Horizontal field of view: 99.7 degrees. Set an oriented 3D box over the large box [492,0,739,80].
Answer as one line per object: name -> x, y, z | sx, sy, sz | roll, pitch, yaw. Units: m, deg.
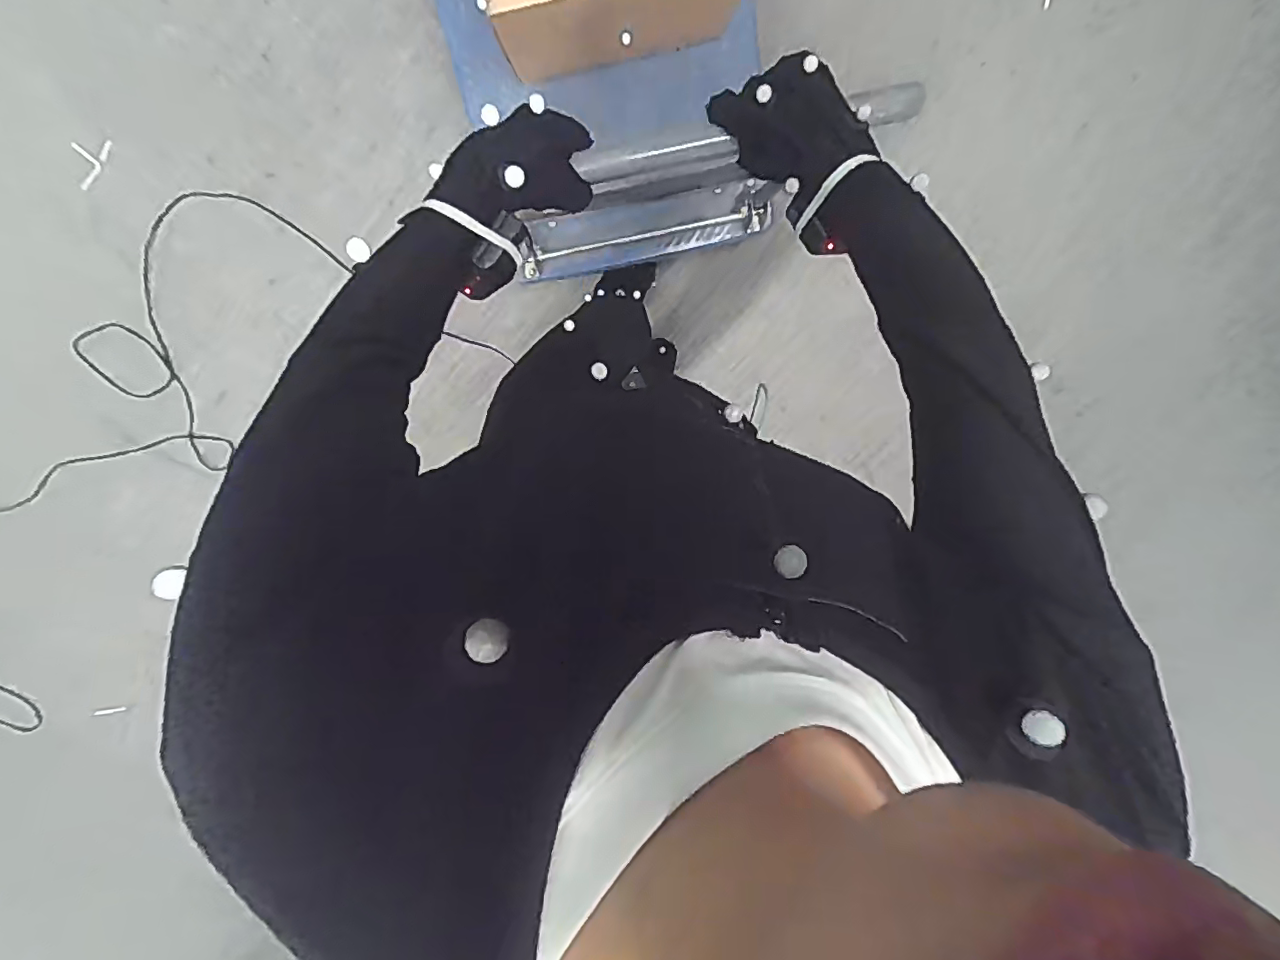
large box -> -0.052, -0.896, 0.847 | 0.408, 0.320, 0.320 | -13, 111, 2
